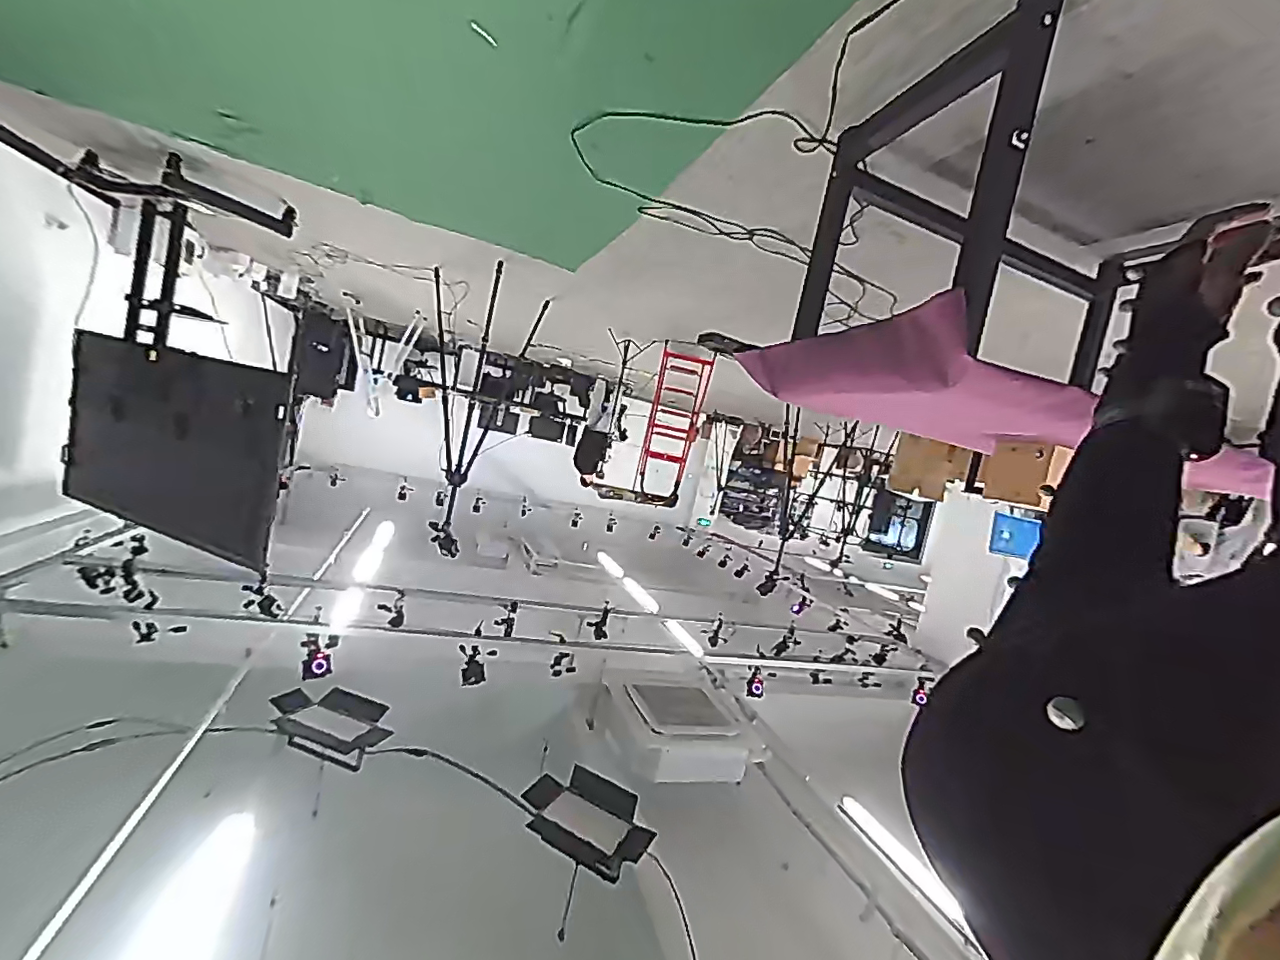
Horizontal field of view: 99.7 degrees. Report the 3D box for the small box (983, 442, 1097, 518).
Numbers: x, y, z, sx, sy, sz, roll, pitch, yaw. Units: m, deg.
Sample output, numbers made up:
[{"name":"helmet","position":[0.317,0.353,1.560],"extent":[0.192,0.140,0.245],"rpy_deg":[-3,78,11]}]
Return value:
[{"name":"small box","position":[1.082,-0.005,1.464],"extent":[0.179,0.176,0.168],"rpy_deg":[10,-176,-19]}]
